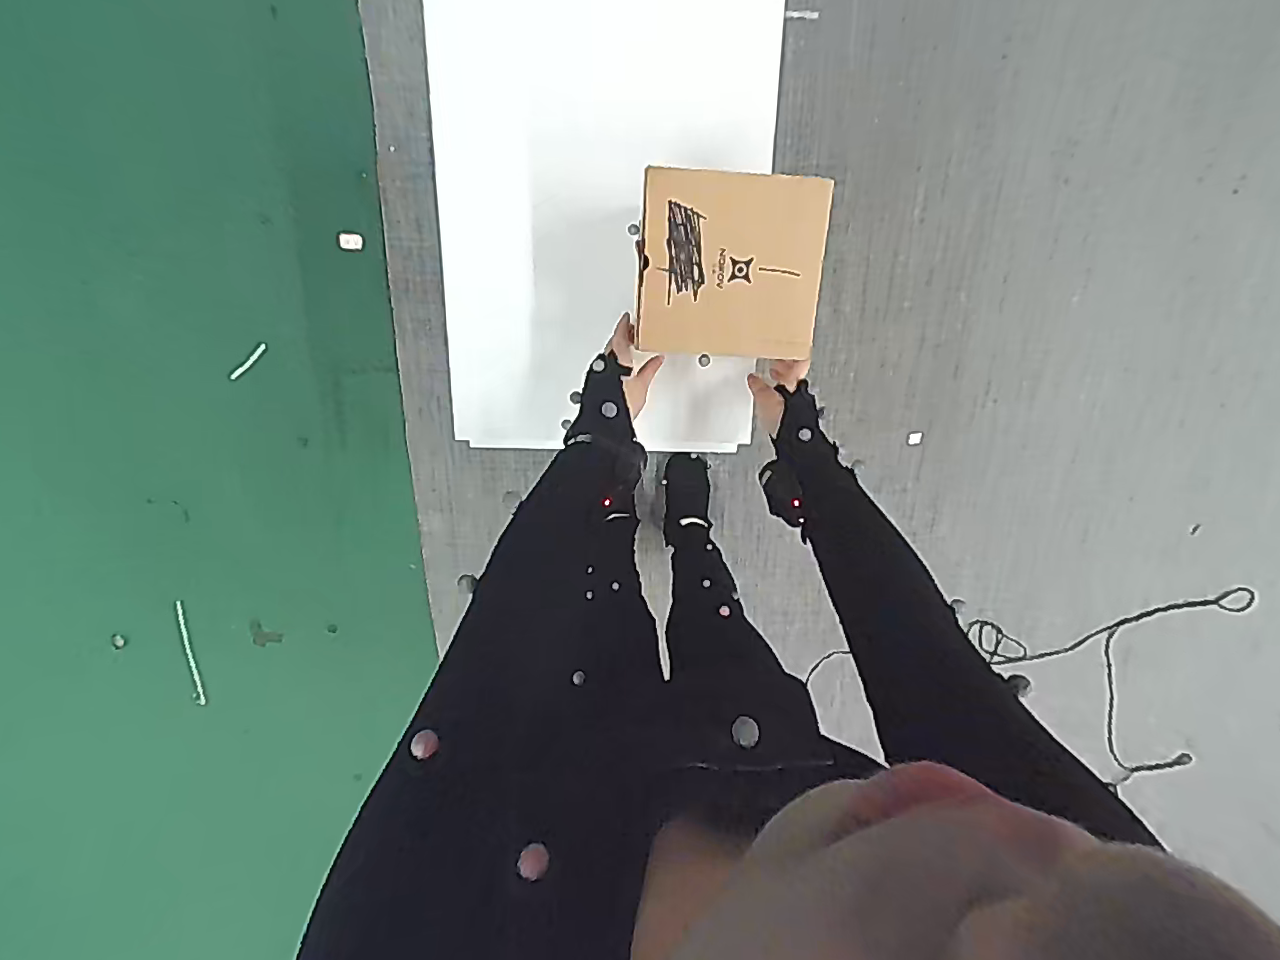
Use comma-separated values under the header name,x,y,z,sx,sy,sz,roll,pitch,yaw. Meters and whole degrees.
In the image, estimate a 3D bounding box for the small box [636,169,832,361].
name,x,y,z,sx,sy,sz,roll,pitch,yaw
small box,0.087,-0.224,0.599,0.179,0.176,0.168,3,105,-3
